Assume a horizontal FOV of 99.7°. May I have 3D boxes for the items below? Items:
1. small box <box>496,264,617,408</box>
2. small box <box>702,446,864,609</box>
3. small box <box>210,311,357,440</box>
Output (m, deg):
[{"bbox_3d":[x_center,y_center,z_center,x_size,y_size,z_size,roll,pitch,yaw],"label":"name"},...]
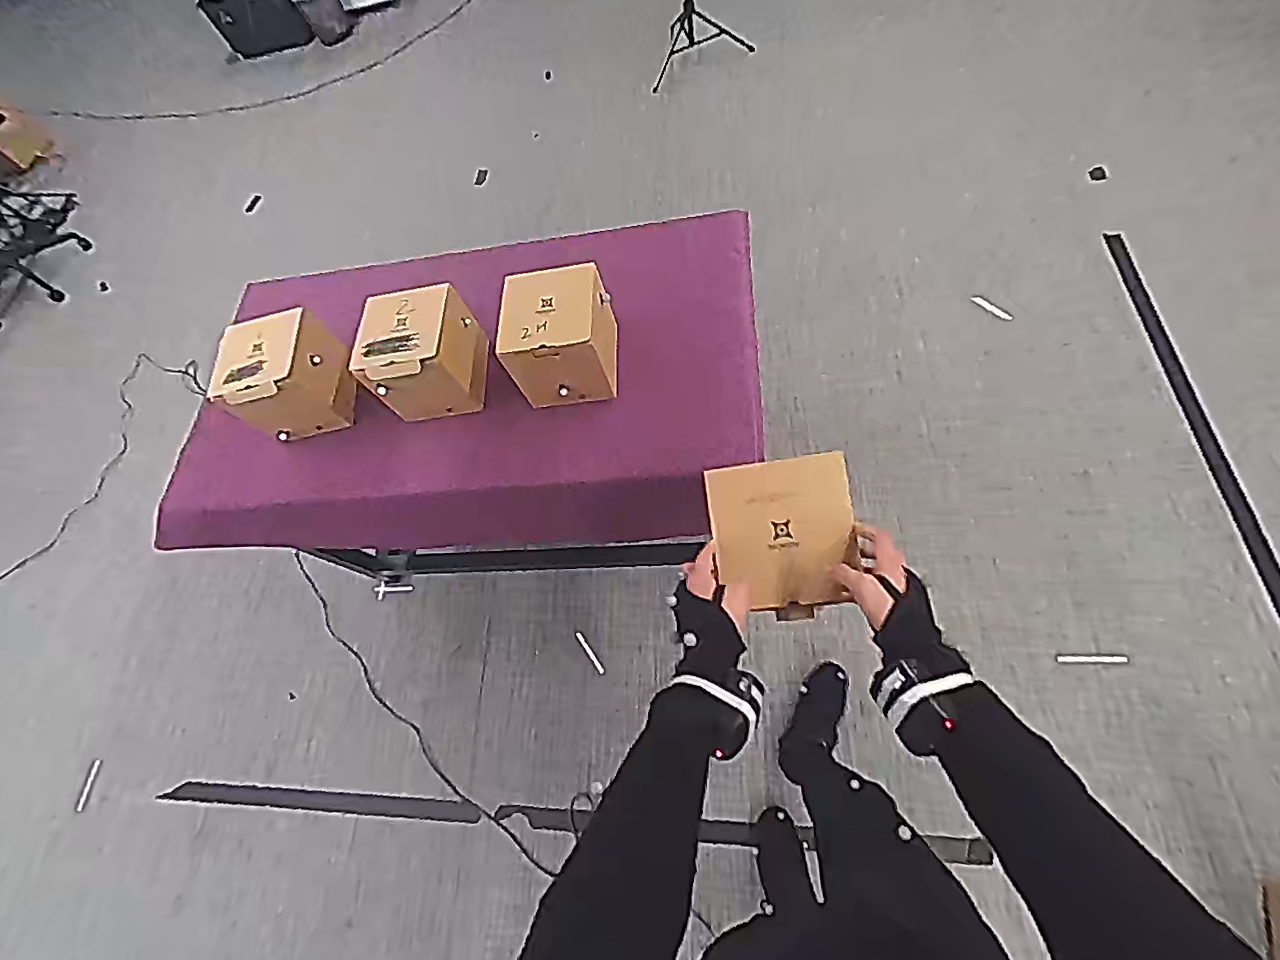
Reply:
[{"bbox_3d":[-0.140,-0.252,0.972,0.168,0.176,0.179,-5,65,10],"label":"small box"},{"bbox_3d":[0.179,0.064,0.707,0.168,0.176,0.179,-9,82,10],"label":"small box"},{"bbox_3d":[-0.687,-0.194,1.065,0.168,0.176,0.179,-13,63,6],"label":"small box"}]
